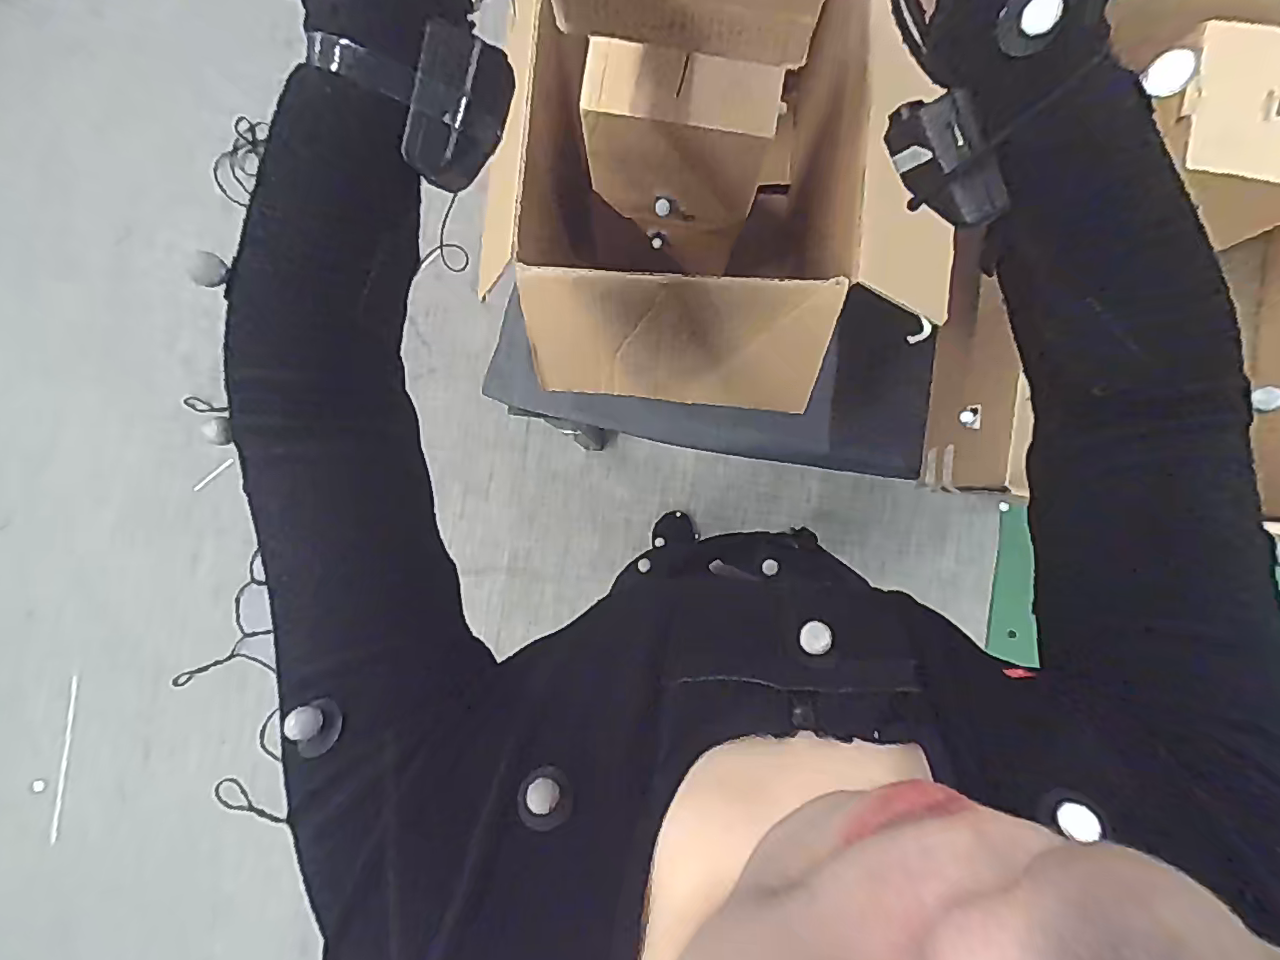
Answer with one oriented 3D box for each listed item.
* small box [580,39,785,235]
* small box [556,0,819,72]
[{"bbox_3d":[0.044,-0.376,0.534,0.168,0.176,0.179,10,90,1],"label":"small box"},{"bbox_3d":[0.038,-0.376,0.304,0.179,0.176,0.168,10,93,0],"label":"small box"}]
